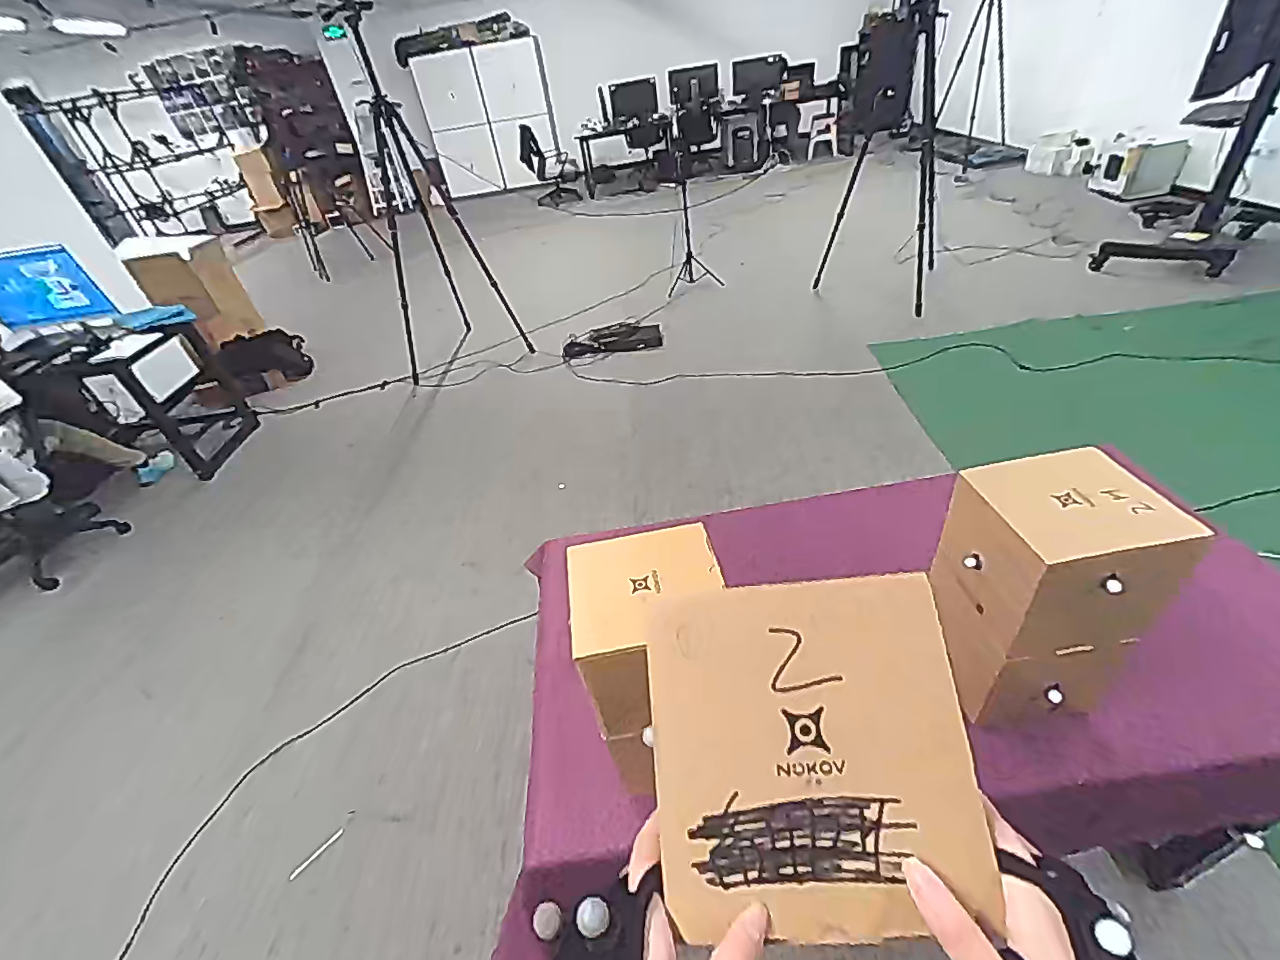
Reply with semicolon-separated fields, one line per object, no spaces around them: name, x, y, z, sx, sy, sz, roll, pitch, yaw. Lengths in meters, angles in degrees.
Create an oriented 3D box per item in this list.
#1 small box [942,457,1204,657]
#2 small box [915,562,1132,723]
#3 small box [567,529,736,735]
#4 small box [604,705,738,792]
small box;0.501;0.097;0.666;0.179;0.176;0.168;-9;38;1
small box;0.521;0.225;0.769;0.168;0.176;0.179;-9;38;1
small box;0.014;0.187;0.664;0.179;0.176;0.168;-10;38;-3
small box;0.040;0.314;0.763;0.168;0.176;0.179;-9;37;-1
